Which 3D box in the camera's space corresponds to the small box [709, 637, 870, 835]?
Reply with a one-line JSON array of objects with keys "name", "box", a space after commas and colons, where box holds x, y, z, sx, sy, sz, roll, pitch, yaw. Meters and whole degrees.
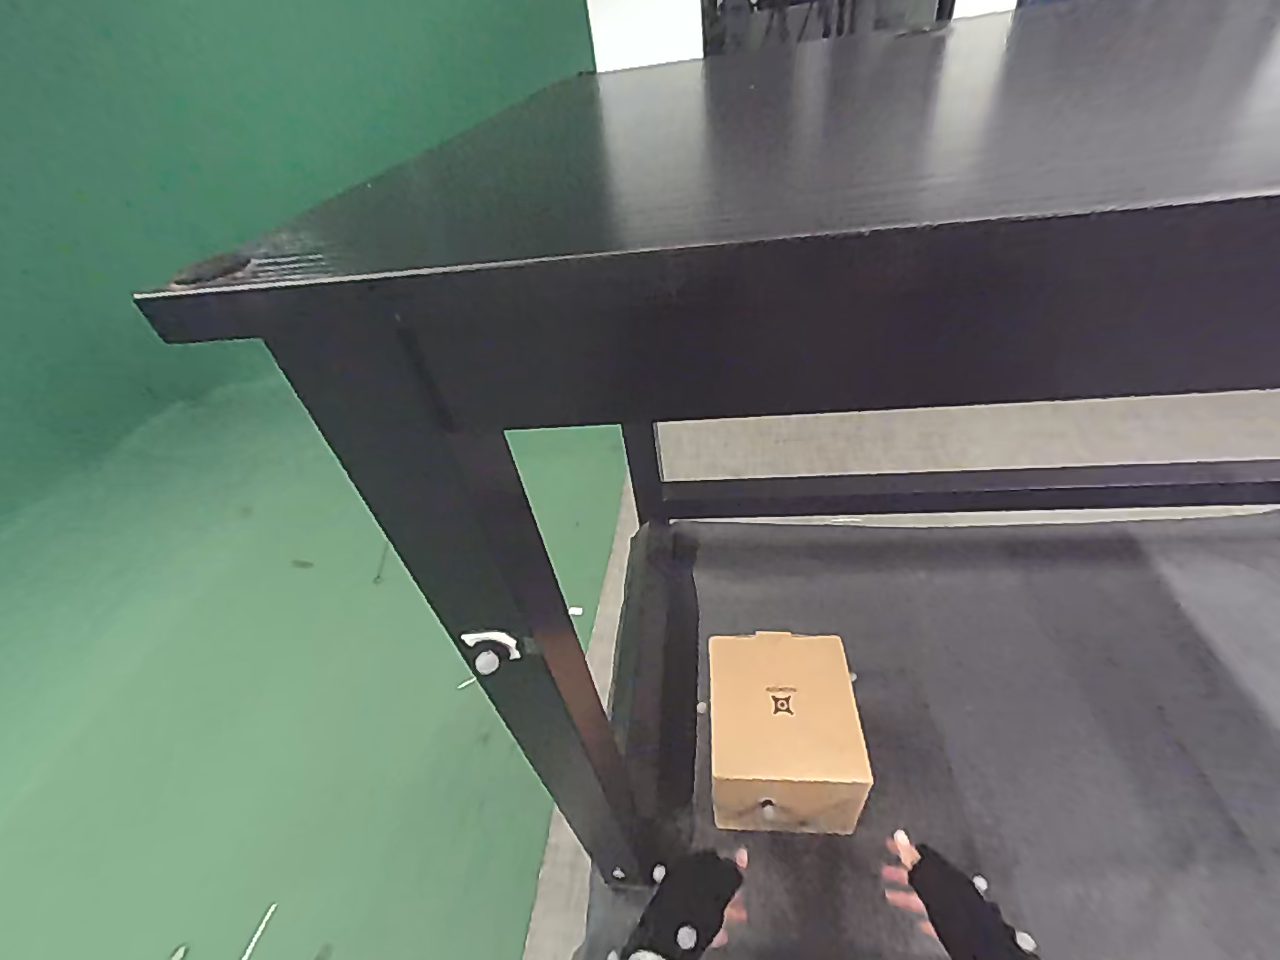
[{"name": "small box", "box": [0.173, 0.317, 0.672, 0.168, 0.176, 0.179, -3, 40, 8]}]
